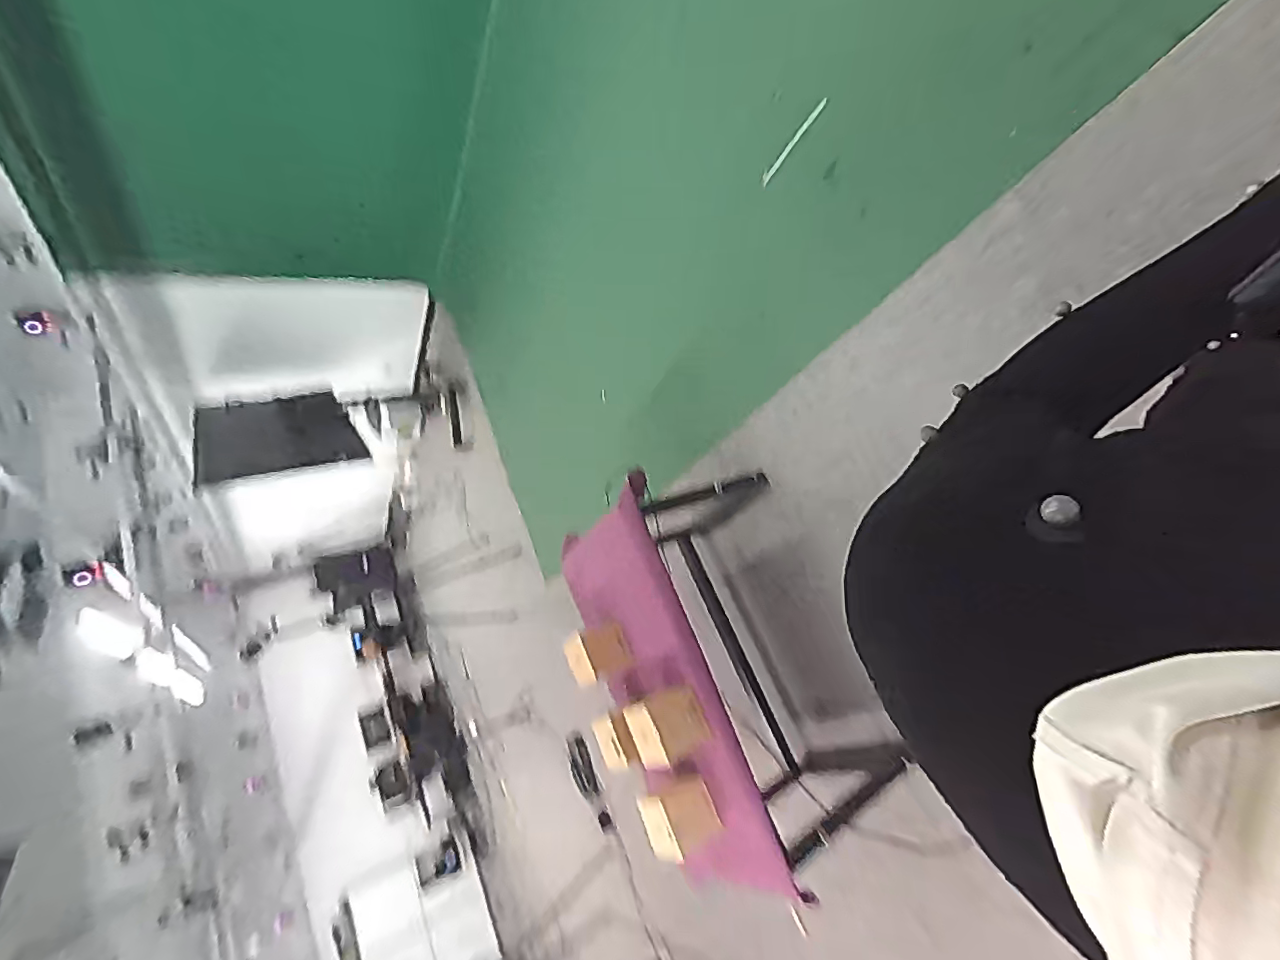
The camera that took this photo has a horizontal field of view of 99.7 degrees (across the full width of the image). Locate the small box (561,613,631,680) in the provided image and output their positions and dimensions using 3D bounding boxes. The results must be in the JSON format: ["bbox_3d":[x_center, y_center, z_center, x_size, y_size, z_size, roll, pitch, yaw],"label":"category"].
[{"bbox_3d":[-0.158,0.603,1.959,0.179,0.176,0.168,-46,64,50],"label":"small box"}]

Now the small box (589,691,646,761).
[{"bbox_3d":[-0.046,0.854,1.883,0.179,0.176,0.168,-46,63,51],"label":"small box"}]

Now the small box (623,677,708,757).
[{"bbox_3d":[0.078,0.728,1.660,0.179,0.176,0.168,-47,63,52],"label":"small box"}]

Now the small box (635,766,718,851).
[{"bbox_3d":[0.116,1.028,1.707,0.179,0.176,0.168,-44,67,52],"label":"small box"}]
